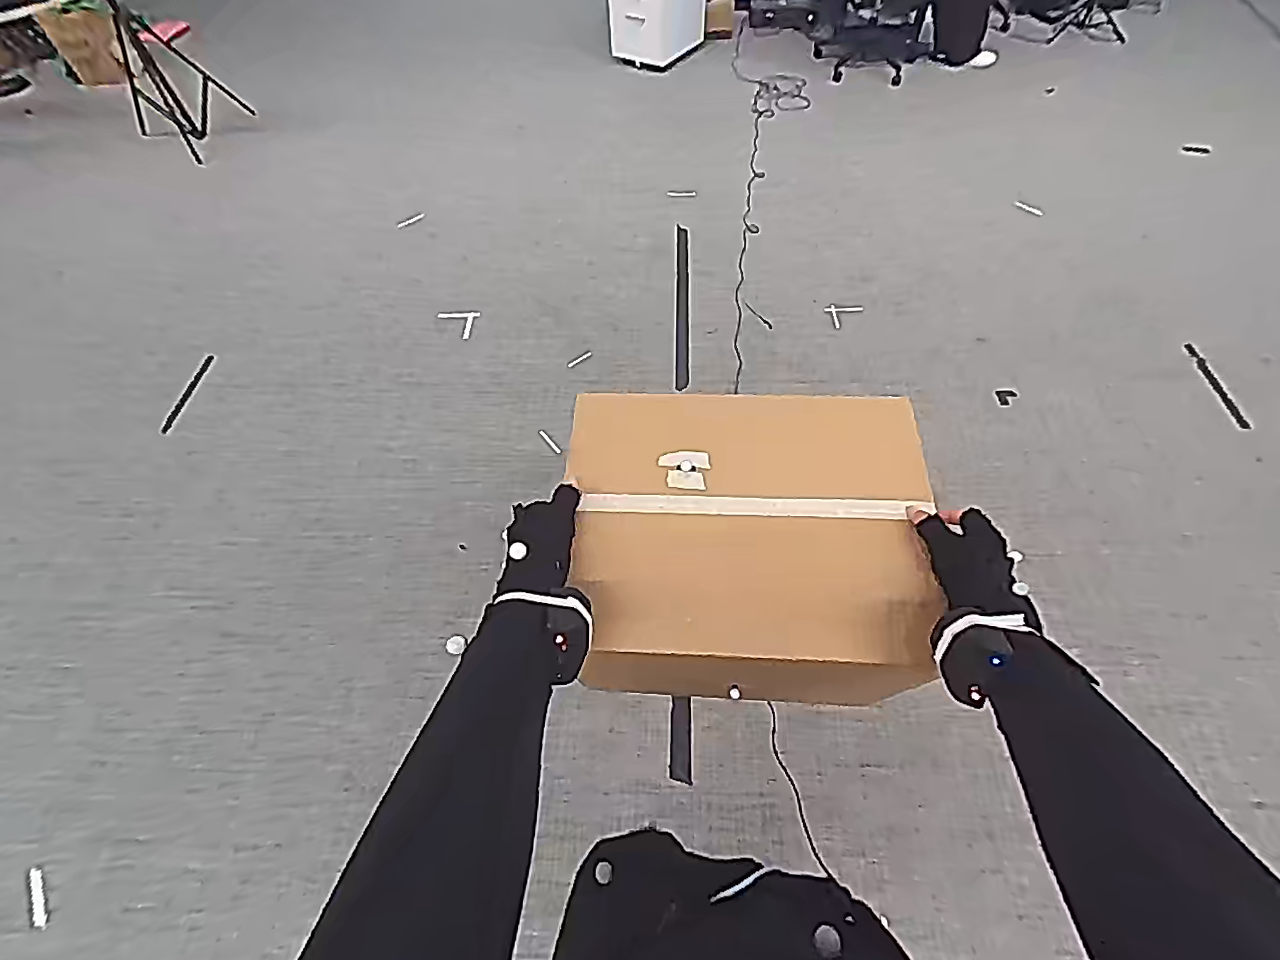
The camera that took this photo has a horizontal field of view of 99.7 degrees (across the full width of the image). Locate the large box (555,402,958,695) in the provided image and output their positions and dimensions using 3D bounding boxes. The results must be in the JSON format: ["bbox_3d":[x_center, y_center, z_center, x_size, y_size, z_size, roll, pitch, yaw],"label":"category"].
[{"bbox_3d":[0.127,0.109,0.734,0.408,0.320,0.320,1,61,5],"label":"large box"}]
